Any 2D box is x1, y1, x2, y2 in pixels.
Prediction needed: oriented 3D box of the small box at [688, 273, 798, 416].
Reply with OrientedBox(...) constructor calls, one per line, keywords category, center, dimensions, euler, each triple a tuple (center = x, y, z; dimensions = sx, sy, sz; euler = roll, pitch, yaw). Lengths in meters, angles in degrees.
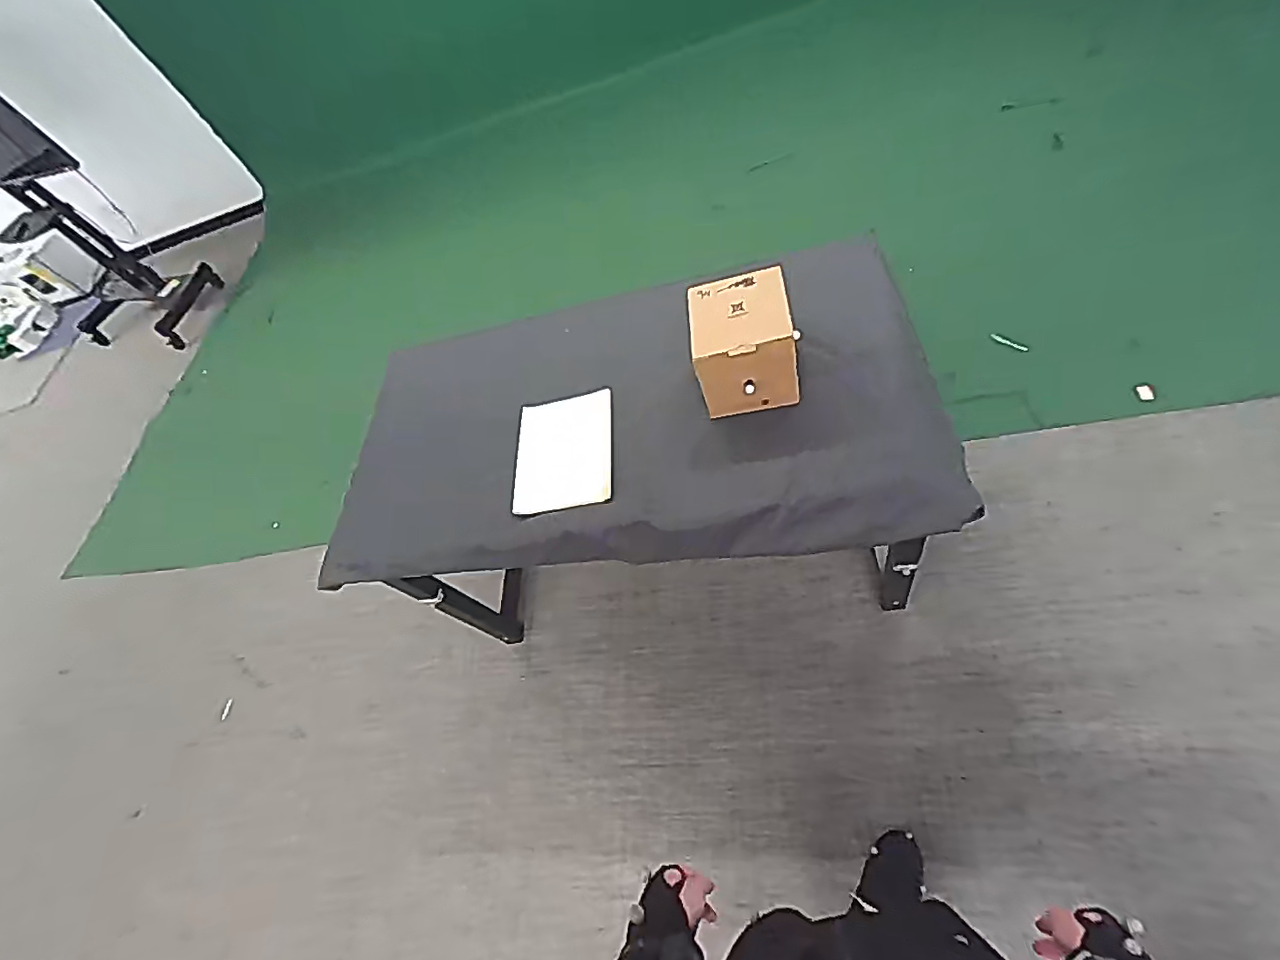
OrientedBox(category="small box", center=(0.187, -0.232, 0.976), dimensions=(0.168, 0.176, 0.179), euler=(-9, 59, 15))
